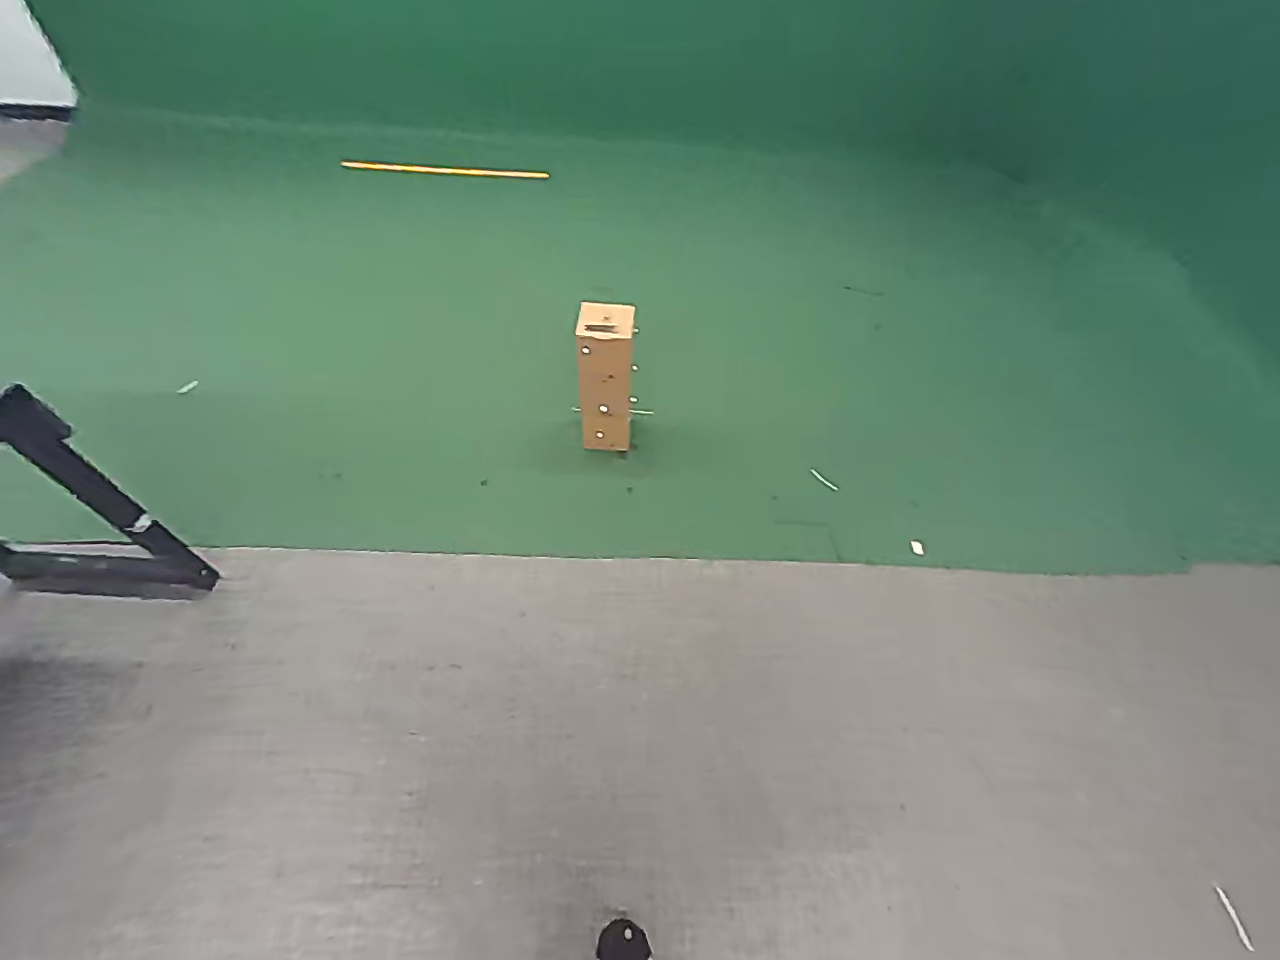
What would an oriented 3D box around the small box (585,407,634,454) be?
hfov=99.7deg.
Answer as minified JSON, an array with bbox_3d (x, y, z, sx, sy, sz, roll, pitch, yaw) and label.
[{"bbox_3d":[-0.105,-0.208,1.963,0.168,0.176,0.179,1,50,-1],"label":"small box"}]

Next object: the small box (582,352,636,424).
[{"bbox_3d":[-0.103,-0.312,1.835,0.168,0.176,0.179,3,51,1],"label":"small box"}]
